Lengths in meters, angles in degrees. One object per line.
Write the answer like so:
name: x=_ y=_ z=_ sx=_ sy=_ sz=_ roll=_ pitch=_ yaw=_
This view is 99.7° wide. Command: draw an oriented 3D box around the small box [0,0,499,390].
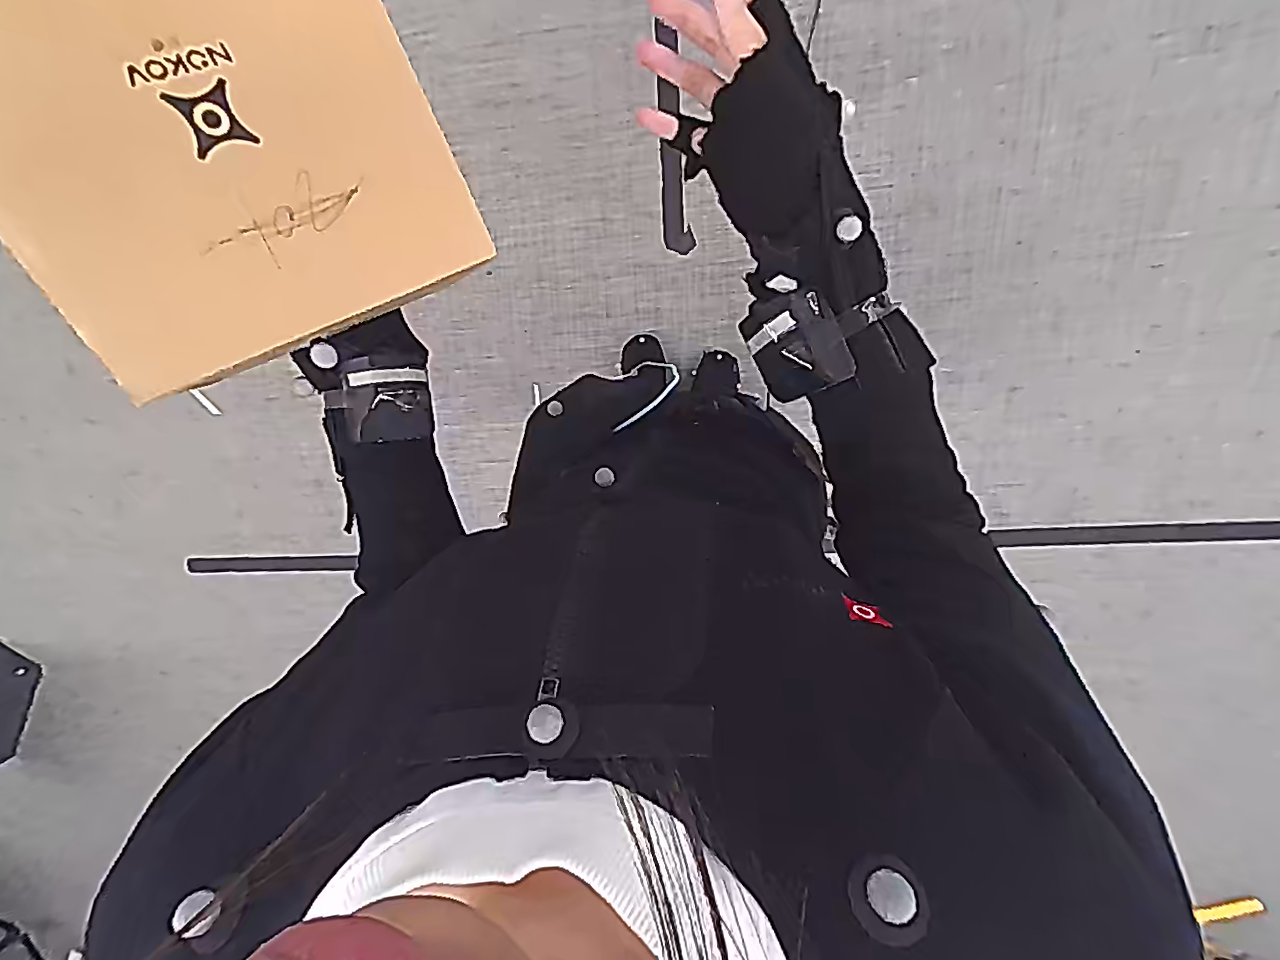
small box: x=-0.205 y=-0.165 z=0.292 sx=0.168 sy=0.176 sz=0.179 roll=-31 pitch=115 yaw=-17
